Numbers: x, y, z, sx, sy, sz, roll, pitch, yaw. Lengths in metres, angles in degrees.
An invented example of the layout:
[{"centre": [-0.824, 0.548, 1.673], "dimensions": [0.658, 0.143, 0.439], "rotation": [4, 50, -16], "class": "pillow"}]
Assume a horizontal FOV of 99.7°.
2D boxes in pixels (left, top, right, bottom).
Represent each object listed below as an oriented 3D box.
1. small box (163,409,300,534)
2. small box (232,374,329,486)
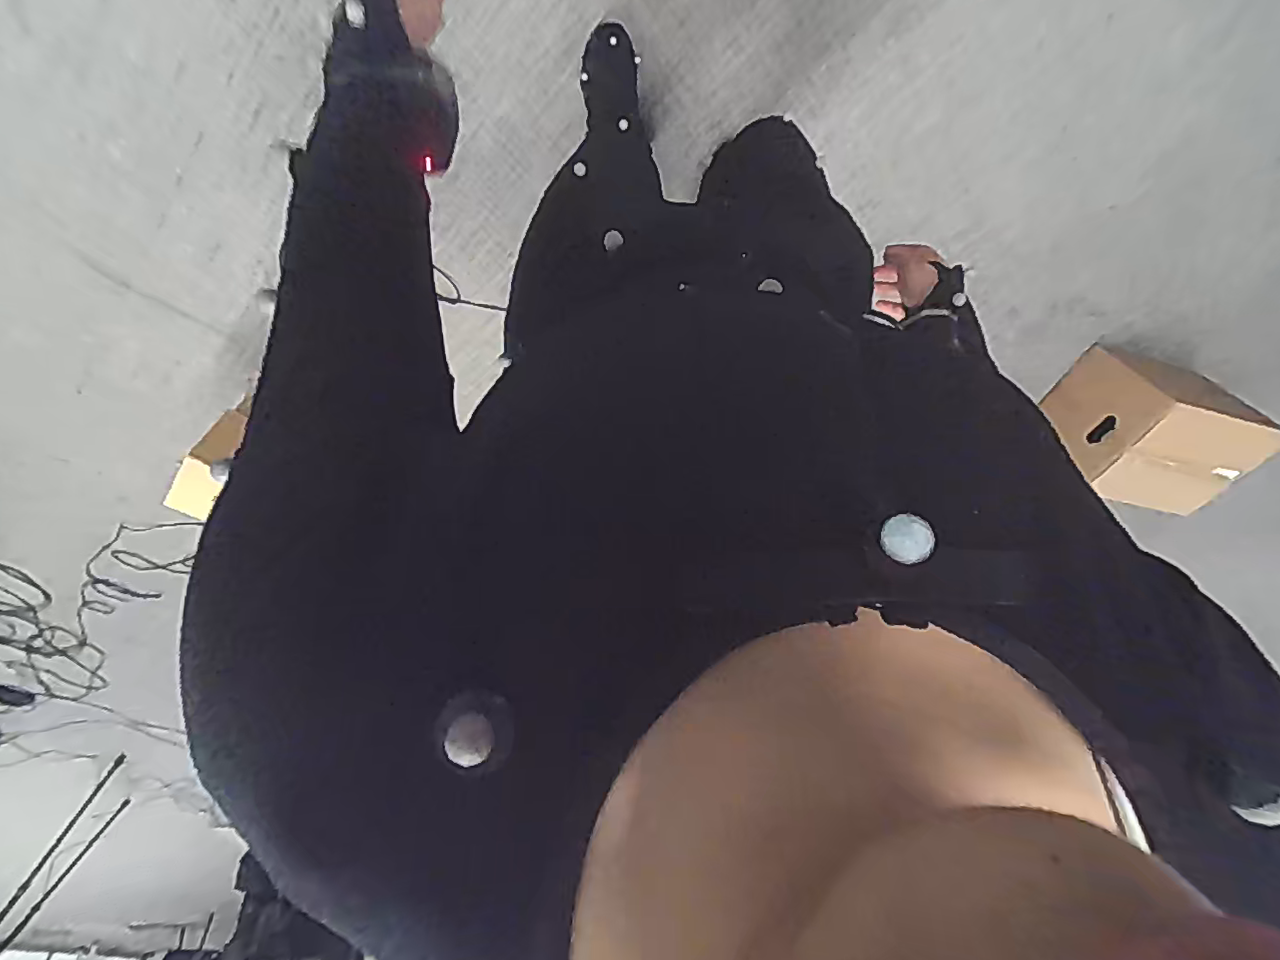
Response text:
[{"centre": [-0.890, -0.019, 1.192], "dimensions": [0.168, 0.176, 0.179], "rotation": [33, 121, -28], "class": "small box"}, {"centre": [-0.897, -0.122, 1.319], "dimensions": [0.168, 0.176, 0.179], "rotation": [33, 121, -29], "class": "small box"}]
